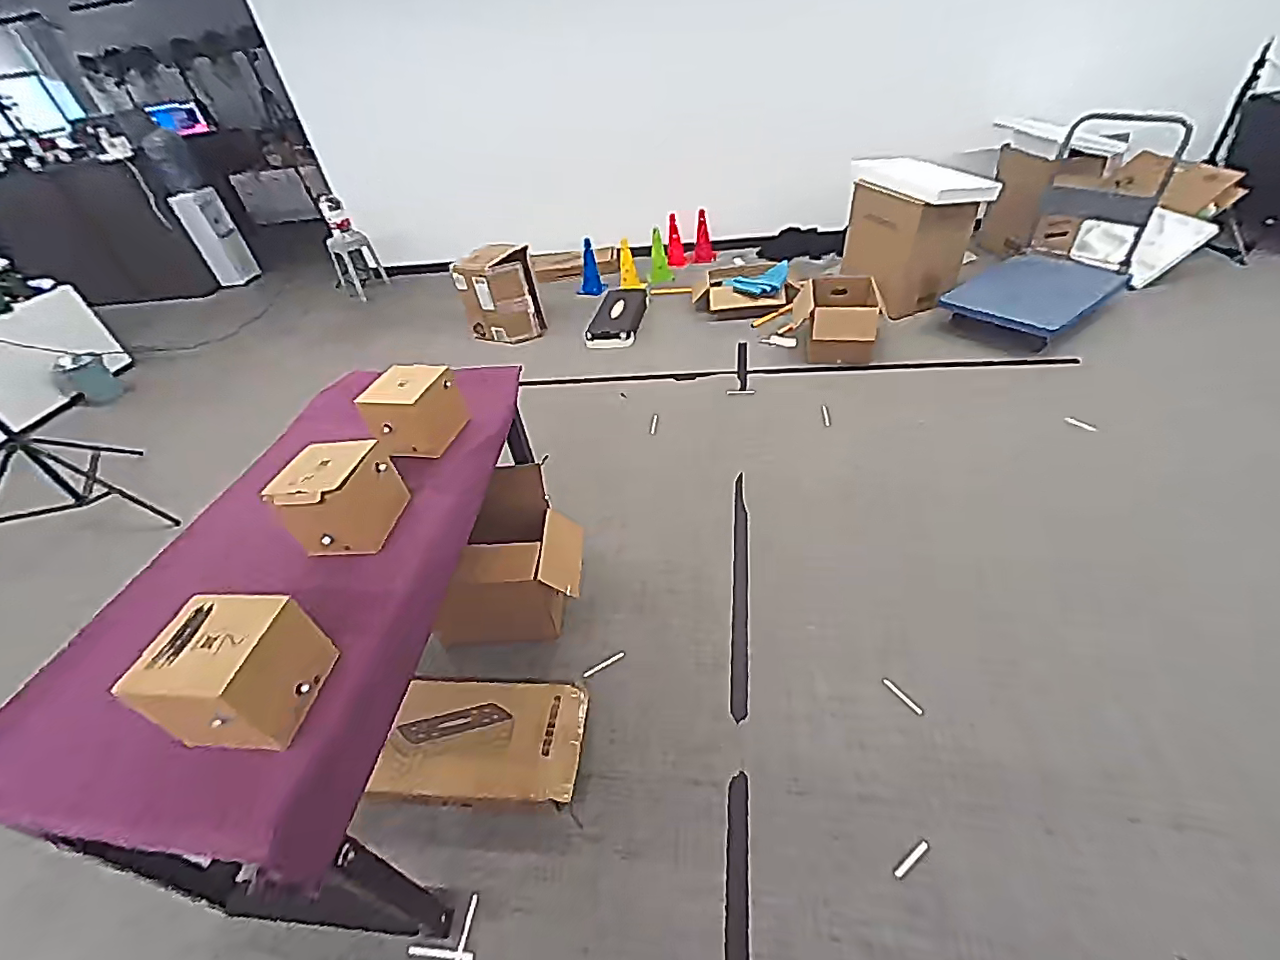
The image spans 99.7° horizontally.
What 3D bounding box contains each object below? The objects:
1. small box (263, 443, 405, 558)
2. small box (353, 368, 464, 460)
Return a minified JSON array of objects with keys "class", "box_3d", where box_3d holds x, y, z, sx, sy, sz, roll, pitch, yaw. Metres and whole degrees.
[{"class":"small box","box_3d":[-0.623,0.043,1.132,0.168,0.176,0.179,-4,40,10]},{"class":"small box","box_3d":[-0.572,-0.165,1.367,0.168,0.176,0.179,3,41,14]}]
